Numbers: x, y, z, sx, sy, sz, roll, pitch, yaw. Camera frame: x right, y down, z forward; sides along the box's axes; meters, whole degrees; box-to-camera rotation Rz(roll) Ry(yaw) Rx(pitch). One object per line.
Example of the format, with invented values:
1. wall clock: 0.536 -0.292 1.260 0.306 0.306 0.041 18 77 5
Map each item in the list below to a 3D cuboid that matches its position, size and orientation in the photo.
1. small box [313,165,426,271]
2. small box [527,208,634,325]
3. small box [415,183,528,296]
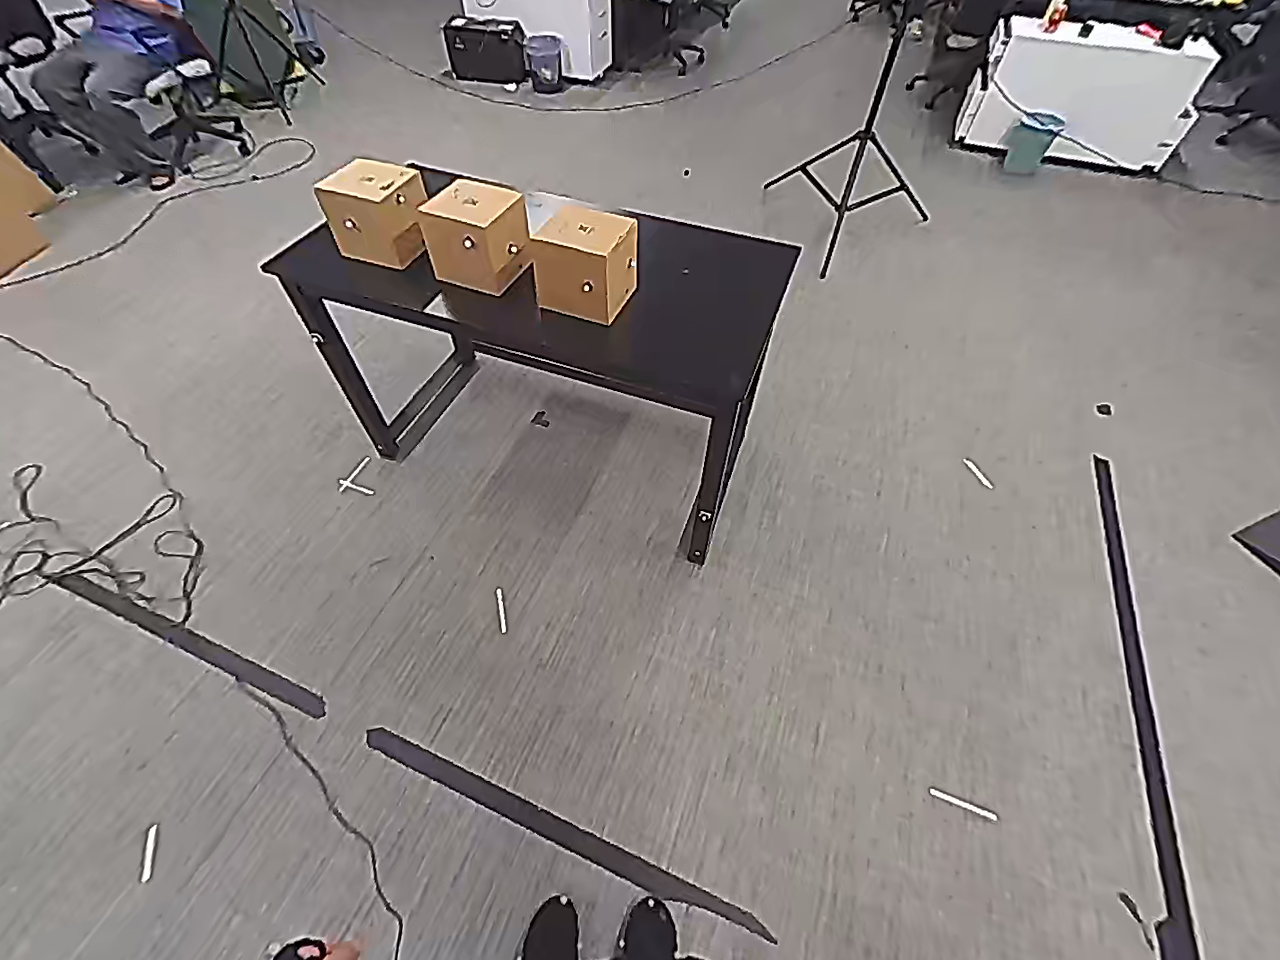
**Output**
1. small box: -0.633 -0.632 1.308 0.179 0.176 0.168 15 54 11
2. small box: -0.123 -0.468 1.197 0.179 0.176 0.168 17 53 13
3. small box: -0.378 -0.553 1.253 0.179 0.176 0.168 18 54 13
